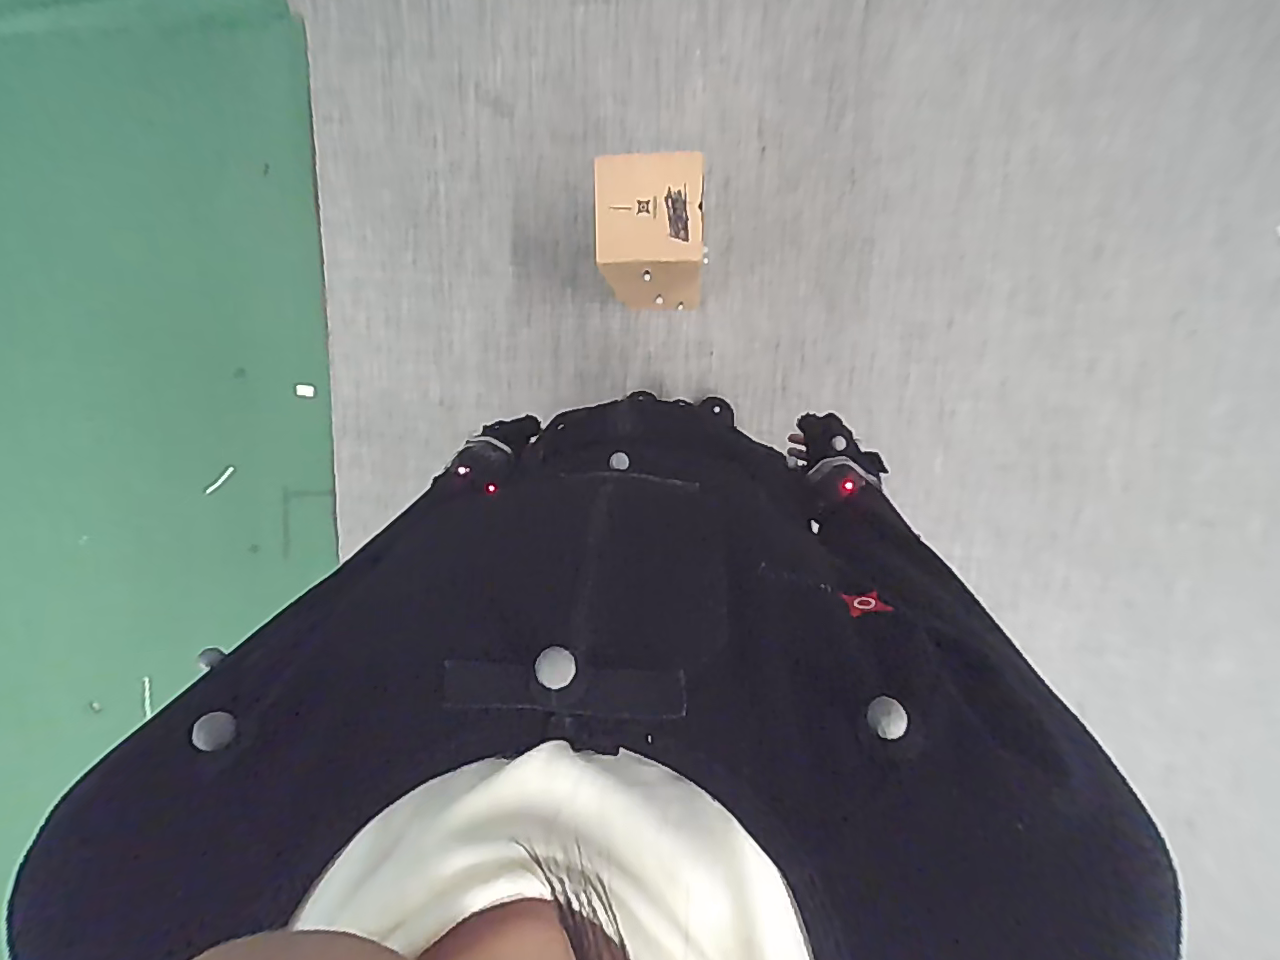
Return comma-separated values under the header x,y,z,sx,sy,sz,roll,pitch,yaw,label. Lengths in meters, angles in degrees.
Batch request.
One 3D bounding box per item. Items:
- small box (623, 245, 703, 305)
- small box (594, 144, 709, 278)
x,y,z,sx,sy,sz,roll,pitch,yaw,label
0.057,-0.509,1.265,0.179,0.176,0.168,1,99,7,small box
0.022,-0.456,0.940,0.179,0.176,0.168,4,98,4,small box
